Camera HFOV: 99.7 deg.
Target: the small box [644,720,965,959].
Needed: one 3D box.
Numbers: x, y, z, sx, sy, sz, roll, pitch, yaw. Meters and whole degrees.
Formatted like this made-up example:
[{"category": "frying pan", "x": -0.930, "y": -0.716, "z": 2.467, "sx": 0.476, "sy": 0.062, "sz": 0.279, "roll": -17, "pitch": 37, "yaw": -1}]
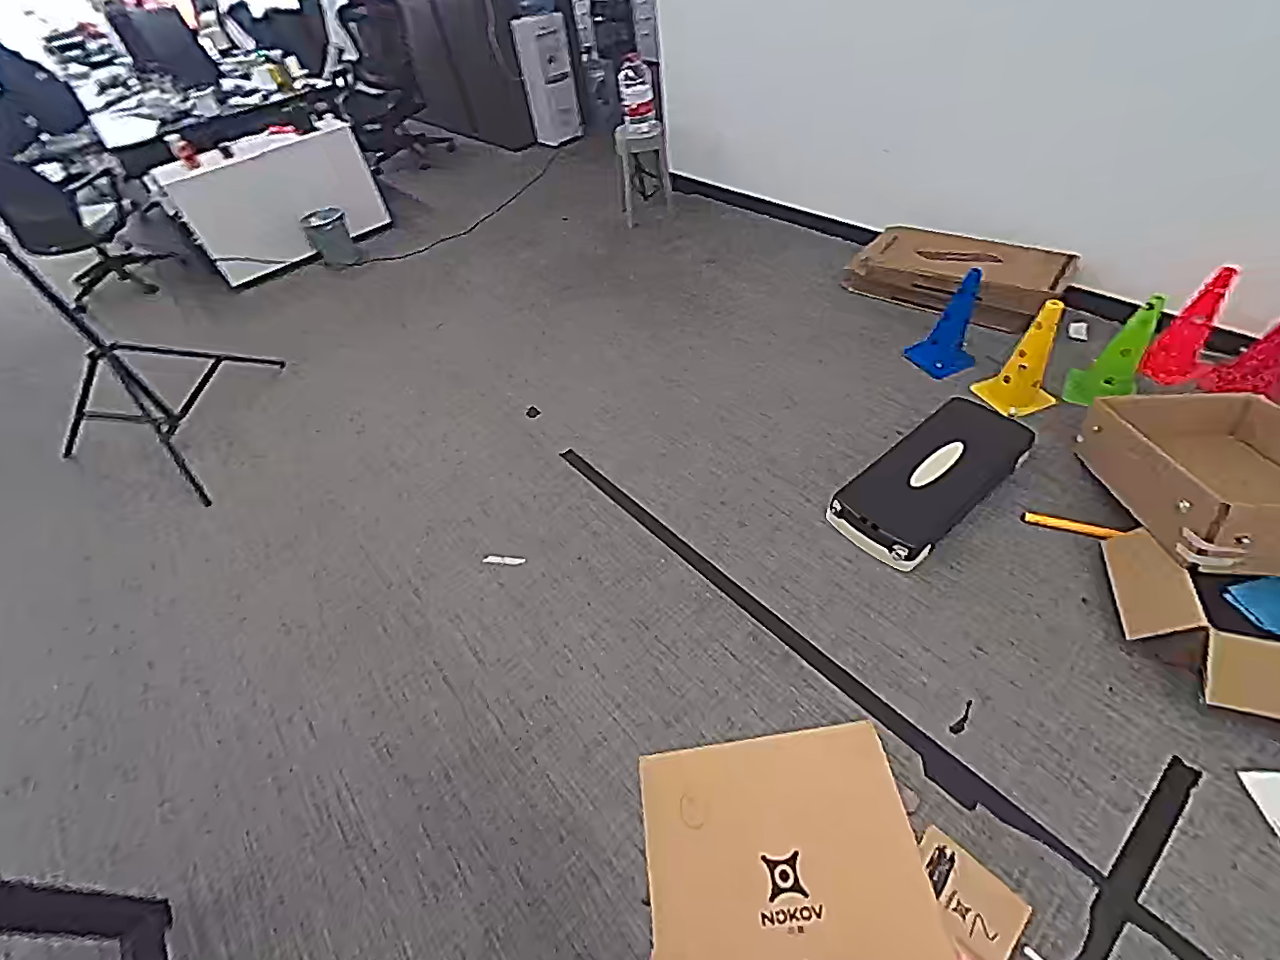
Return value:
[{"category": "small box", "x": 0.104, "y": 0.291, "z": 0.372, "sx": 0.168, "sy": 0.176, "sz": 0.179, "roll": -12, "pitch": 49, "yaw": 6}]
